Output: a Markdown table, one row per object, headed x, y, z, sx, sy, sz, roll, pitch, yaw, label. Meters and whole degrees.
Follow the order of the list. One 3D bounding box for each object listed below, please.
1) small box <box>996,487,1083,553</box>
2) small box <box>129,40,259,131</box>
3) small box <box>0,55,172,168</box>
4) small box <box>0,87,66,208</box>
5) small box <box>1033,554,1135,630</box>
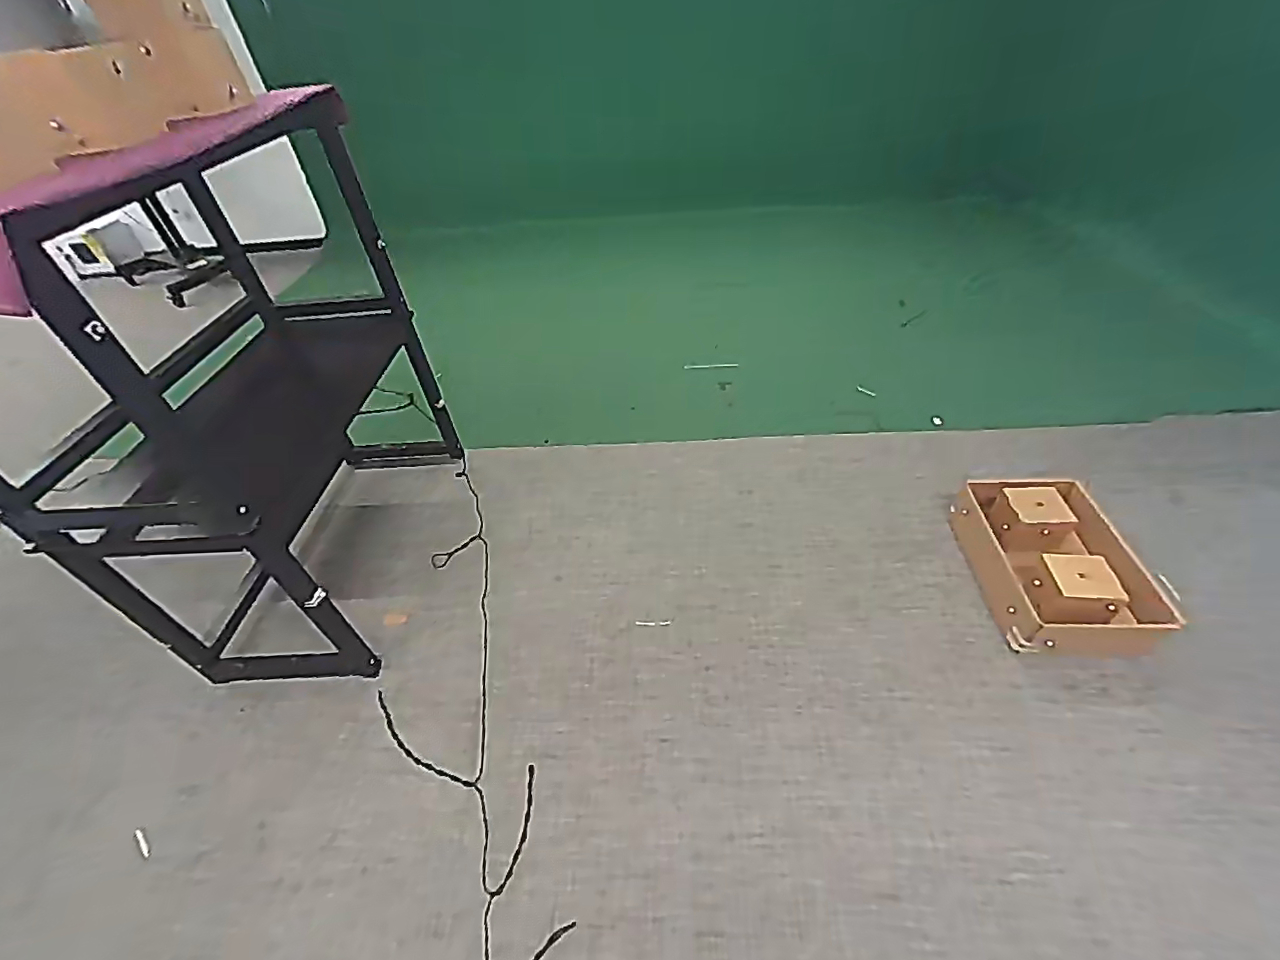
| x | y | z | sx | sy | sz | roll | pitch | yaw | label |
| --- | --- | --- | --- | --- | --- | --- | --- | --- | --- |
| 1.387 | 0.143 | 1.899 | 0.179 | 0.176 | 0.168 | -1 | 44 | 5 | small box |
| -1.146 | -1.029 | 1.413 | 0.168 | 0.176 | 0.179 | -5 | 42 | 5 | small box |
| -1.151 | -0.775 | 1.139 | 0.168 | 0.176 | 0.179 | -4 | 43 | 5 | small box |
| -1.142 | -0.551 | 0.895 | 0.168 | 0.176 | 0.179 | -5 | 42 | 2 | small box |
| 1.363 | 0.350 | 1.683 | 0.179 | 0.176 | 0.168 | 1 | 43 | 8 | small box |
